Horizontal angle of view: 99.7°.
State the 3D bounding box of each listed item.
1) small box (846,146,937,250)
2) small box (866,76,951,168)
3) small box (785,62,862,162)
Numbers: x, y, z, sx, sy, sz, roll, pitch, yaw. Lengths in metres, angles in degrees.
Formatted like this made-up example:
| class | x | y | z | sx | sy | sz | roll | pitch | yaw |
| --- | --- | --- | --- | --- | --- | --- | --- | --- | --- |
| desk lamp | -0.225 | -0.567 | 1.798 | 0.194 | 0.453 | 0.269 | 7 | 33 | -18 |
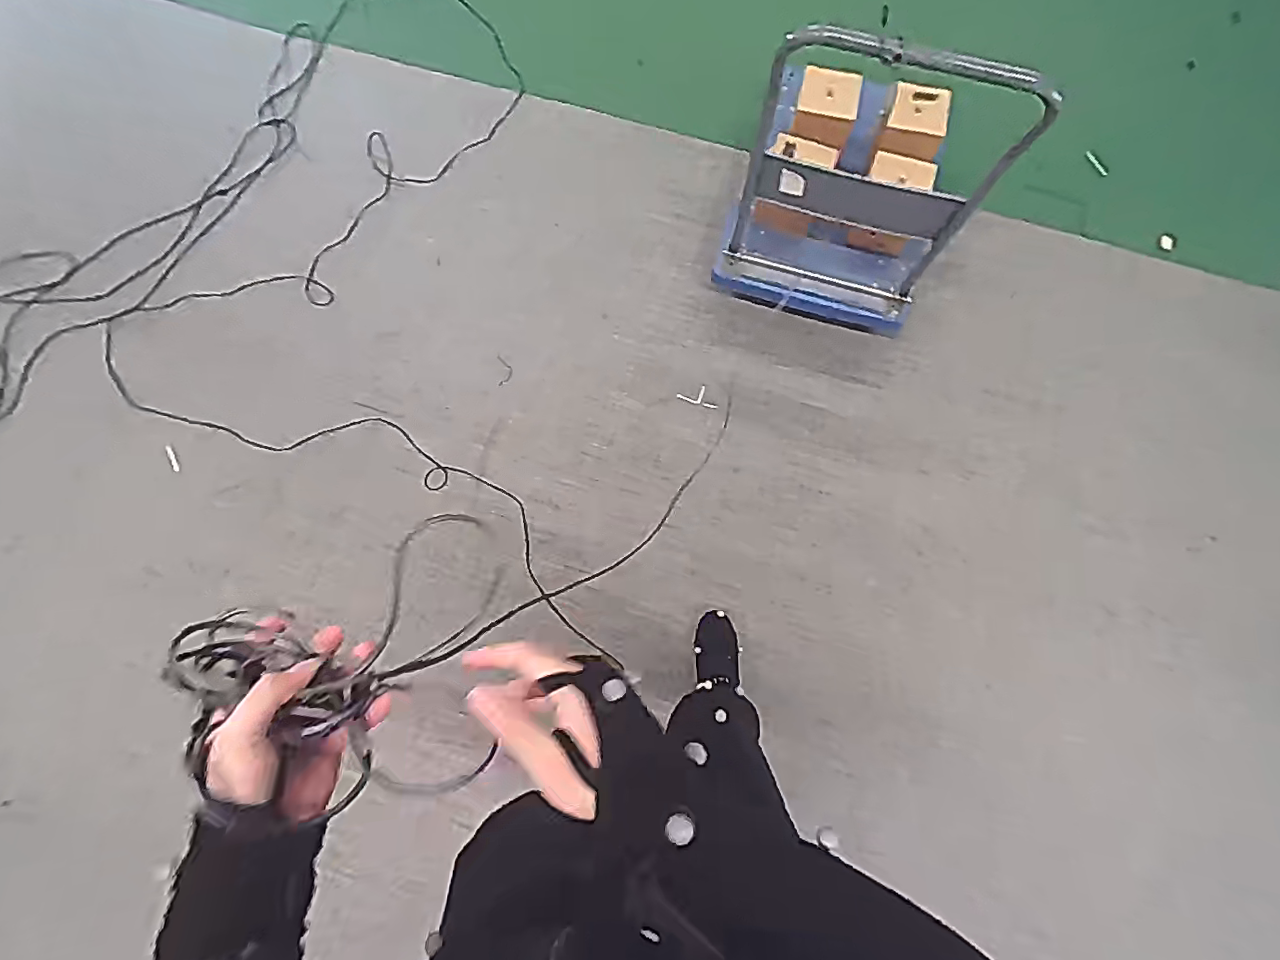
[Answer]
| class | x | y | z | sx | sy | sz | roll | pitch | yaw |
| --- | --- | --- | --- | --- | --- | --- | --- | --- | --- |
| small box | 0.704 | -0.791 | 1.527 | 0.168 | 0.176 | 0.179 | 18 | 75 | 6 |
| small box | 0.787 | -1.038 | 1.598 | 0.168 | 0.176 | 0.179 | 13 | 75 | 5 |
| small box | 0.542 | -1.094 | 1.618 | 0.168 | 0.176 | 0.179 | 14 | 74 | 4 |
